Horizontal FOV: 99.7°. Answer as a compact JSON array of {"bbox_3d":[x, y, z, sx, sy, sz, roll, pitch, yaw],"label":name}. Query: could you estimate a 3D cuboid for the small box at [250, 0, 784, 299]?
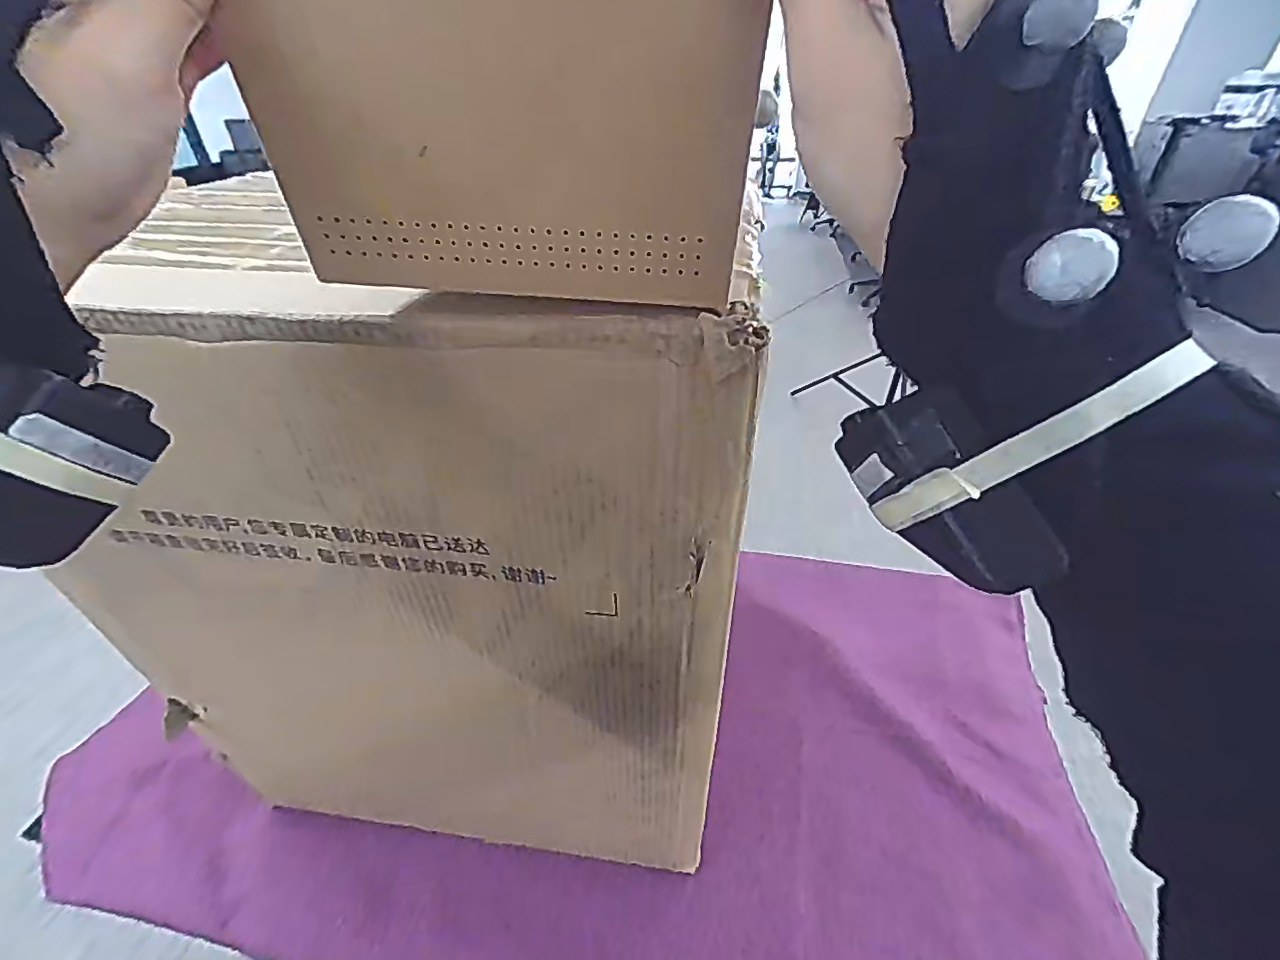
[{"bbox_3d":[-0.036,-0.191,0.223,0.179,0.176,0.168,5,46,2],"label":"small box"}]
